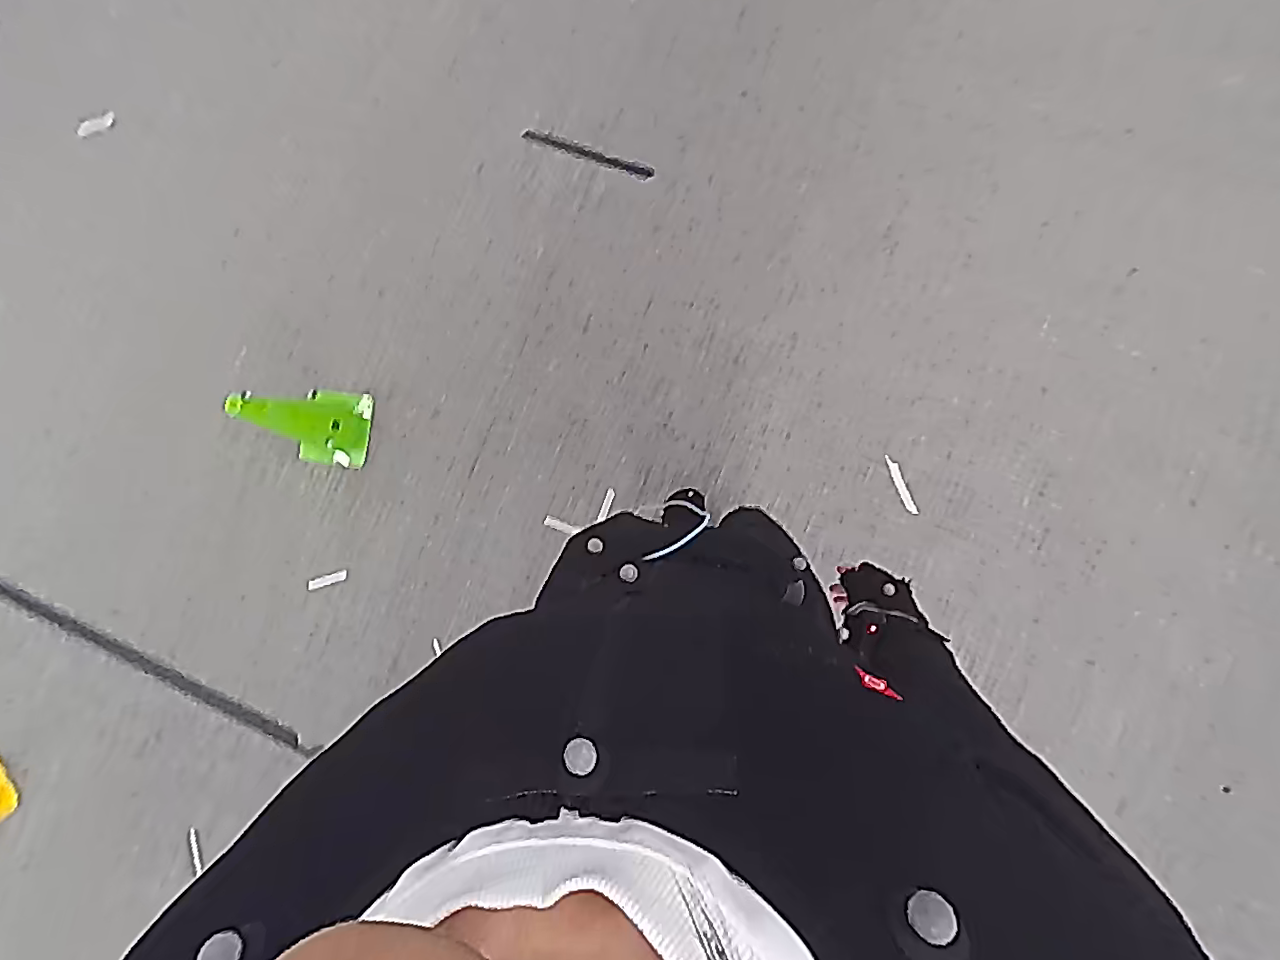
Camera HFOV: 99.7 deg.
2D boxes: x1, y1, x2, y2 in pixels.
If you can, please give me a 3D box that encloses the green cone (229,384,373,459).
[{"bbox_3d":[-0.873,-0.170,1.359,0.202,0.368,0.200,7,89,5],"label":"green cone"}]
